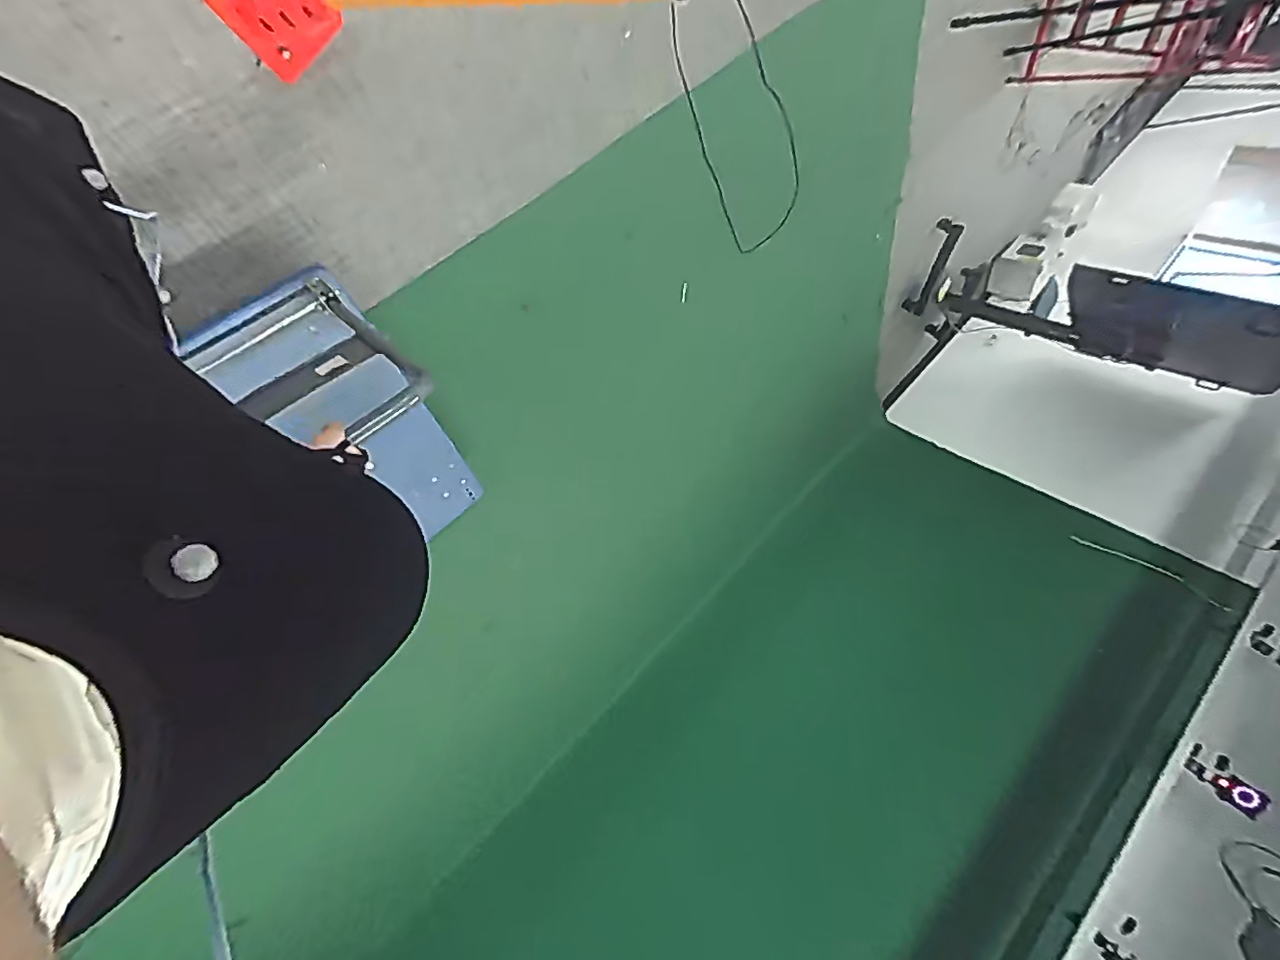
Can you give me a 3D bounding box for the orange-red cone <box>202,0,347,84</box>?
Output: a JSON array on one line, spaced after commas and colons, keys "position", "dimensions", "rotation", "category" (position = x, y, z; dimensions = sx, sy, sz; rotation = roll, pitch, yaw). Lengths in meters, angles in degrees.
[{"position": [-0.632, -0.881, 1.004], "dimensions": [0.199, 0.360, 0.198], "rotation": [-53, 146, -5], "category": "orange-red cone"}]
